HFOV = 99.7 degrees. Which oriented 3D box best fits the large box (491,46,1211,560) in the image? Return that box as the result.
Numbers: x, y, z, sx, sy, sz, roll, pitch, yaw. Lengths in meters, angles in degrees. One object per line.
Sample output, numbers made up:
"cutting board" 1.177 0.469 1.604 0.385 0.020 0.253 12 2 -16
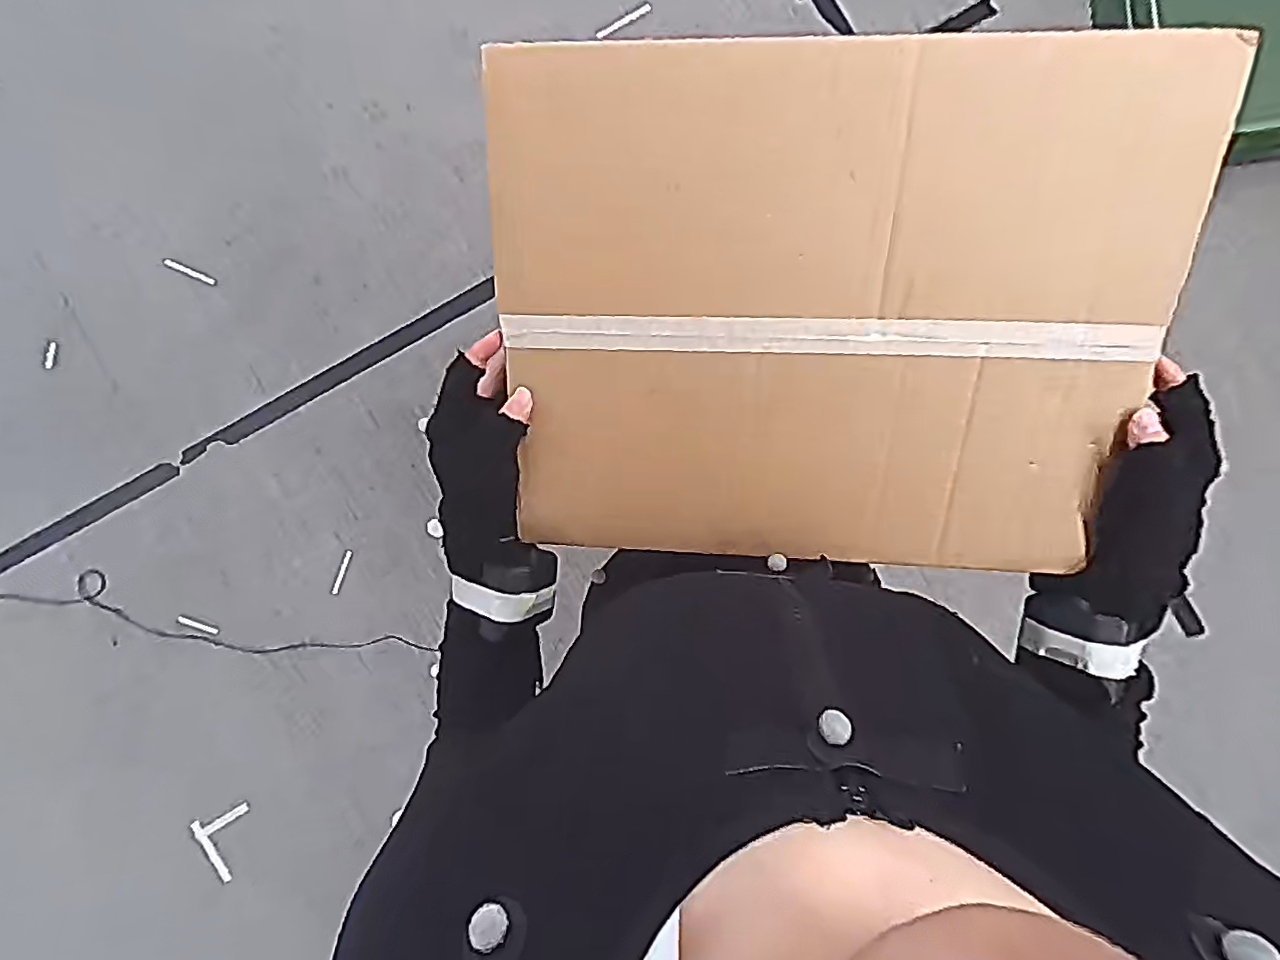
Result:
"large box" 0.119 -0.141 0.492 0.408 0.320 0.320 3 110 5
